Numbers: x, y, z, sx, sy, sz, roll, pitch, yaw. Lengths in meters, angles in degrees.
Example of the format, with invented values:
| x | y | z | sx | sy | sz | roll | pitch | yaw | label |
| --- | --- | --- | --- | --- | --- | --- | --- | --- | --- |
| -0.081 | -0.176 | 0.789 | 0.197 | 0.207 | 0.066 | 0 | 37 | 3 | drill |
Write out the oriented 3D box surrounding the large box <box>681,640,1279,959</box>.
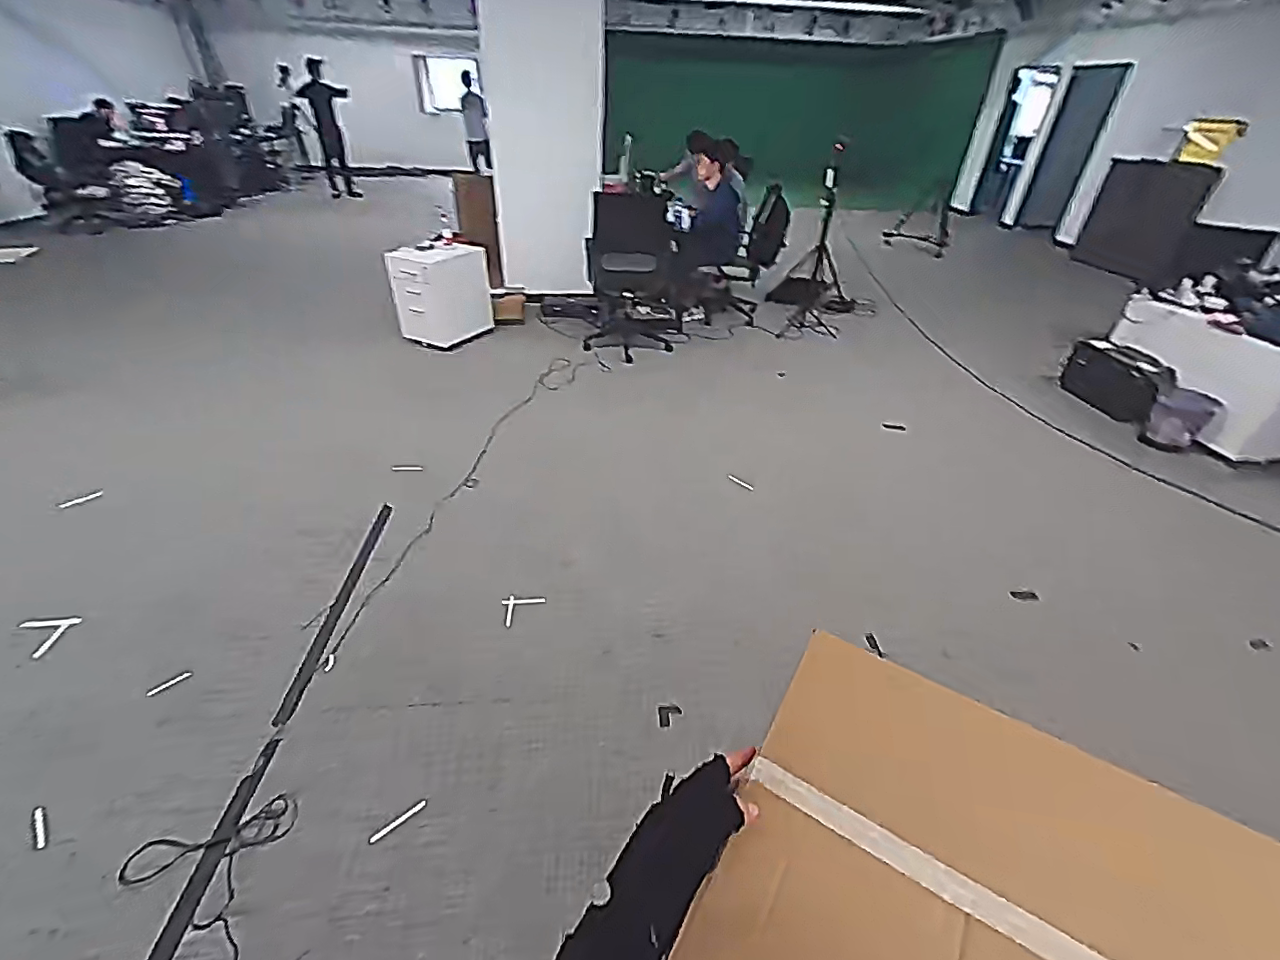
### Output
| x | y | z | sx | sy | sz | roll | pitch | yaw | label |
| --- | --- | --- | --- | --- | --- | --- | --- | --- | --- |
| 0.277 | 0.426 | 0.489 | 0.408 | 0.320 | 0.320 | 22 | 49 | 25 | large box |
